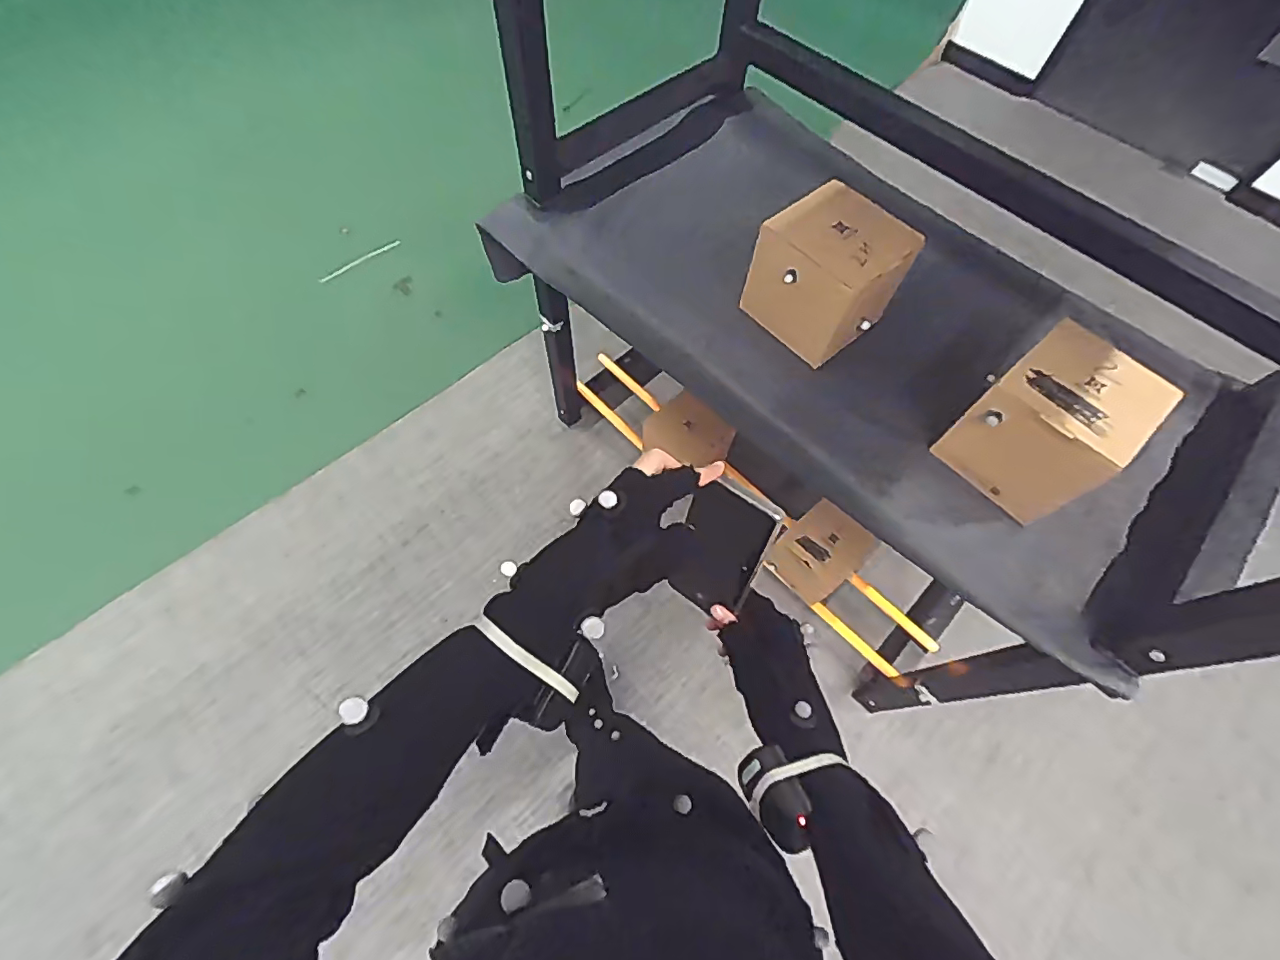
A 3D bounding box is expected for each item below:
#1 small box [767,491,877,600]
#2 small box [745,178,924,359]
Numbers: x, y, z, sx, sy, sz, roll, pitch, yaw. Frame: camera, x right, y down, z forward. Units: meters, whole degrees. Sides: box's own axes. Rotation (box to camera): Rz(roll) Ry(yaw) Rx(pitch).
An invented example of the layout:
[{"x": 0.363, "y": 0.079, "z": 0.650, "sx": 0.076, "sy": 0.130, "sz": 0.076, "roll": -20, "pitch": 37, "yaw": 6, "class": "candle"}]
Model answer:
[{"x": 0.428, "y": 0.166, "z": 1.310, "sx": 0.179, "sy": 0.176, "sz": 0.168, "roll": -37, "pitch": 71, "yaw": -18, "class": "small box"}, {"x": 0.289, "y": -0.326, "z": 0.850, "sx": 0.168, "sy": 0.176, "sz": 0.179, "roll": -38, "pitch": 71, "yaw": -18, "class": "small box"}]
